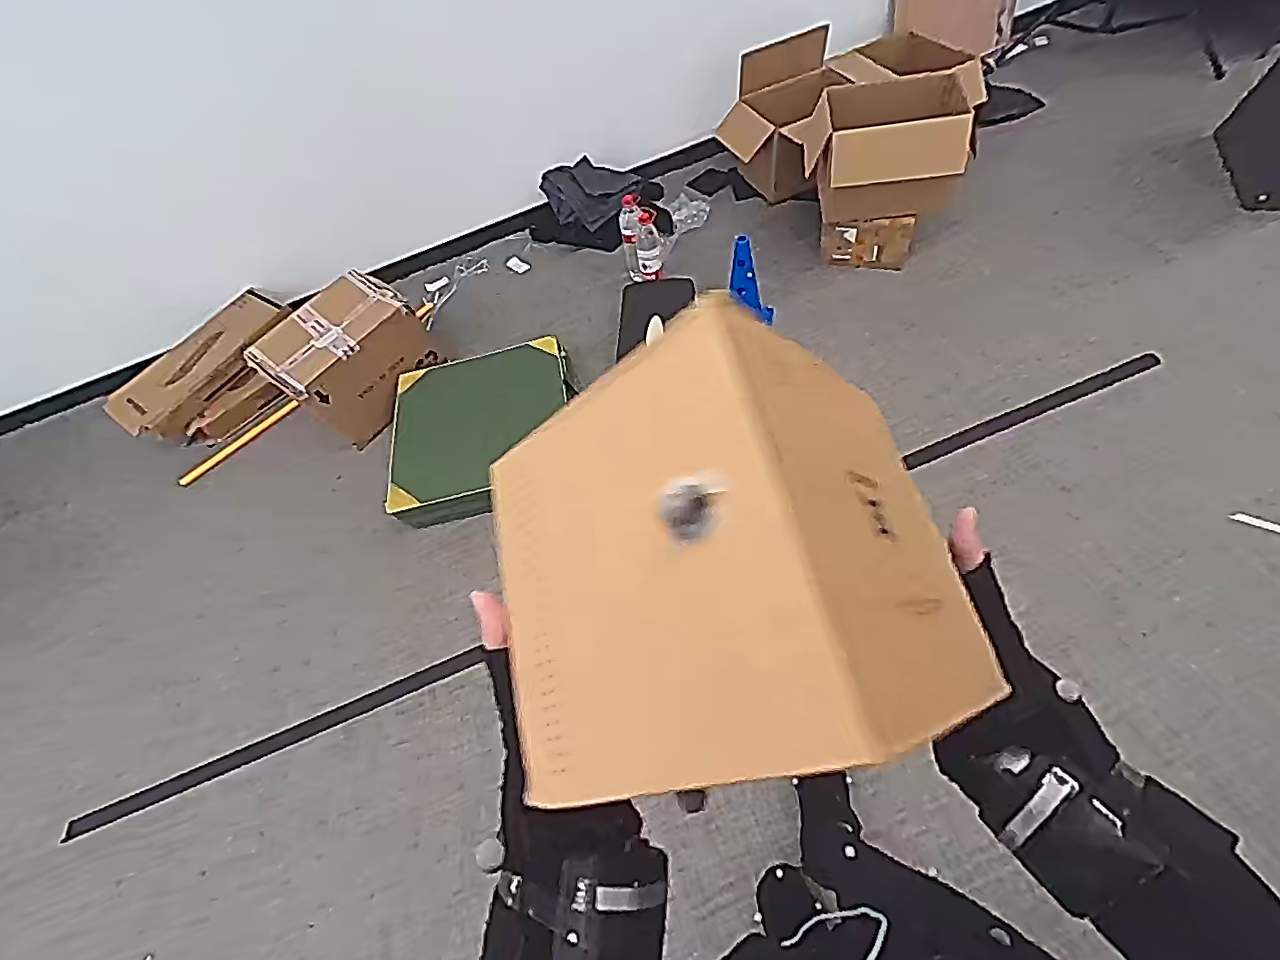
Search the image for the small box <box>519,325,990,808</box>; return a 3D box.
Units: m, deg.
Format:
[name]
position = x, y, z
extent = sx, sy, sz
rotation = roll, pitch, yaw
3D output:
[small box]
position = 0.050, 0.057, 0.298
extent = 0.176, 0.168, 0.179
rotation = -31, 60, 34
